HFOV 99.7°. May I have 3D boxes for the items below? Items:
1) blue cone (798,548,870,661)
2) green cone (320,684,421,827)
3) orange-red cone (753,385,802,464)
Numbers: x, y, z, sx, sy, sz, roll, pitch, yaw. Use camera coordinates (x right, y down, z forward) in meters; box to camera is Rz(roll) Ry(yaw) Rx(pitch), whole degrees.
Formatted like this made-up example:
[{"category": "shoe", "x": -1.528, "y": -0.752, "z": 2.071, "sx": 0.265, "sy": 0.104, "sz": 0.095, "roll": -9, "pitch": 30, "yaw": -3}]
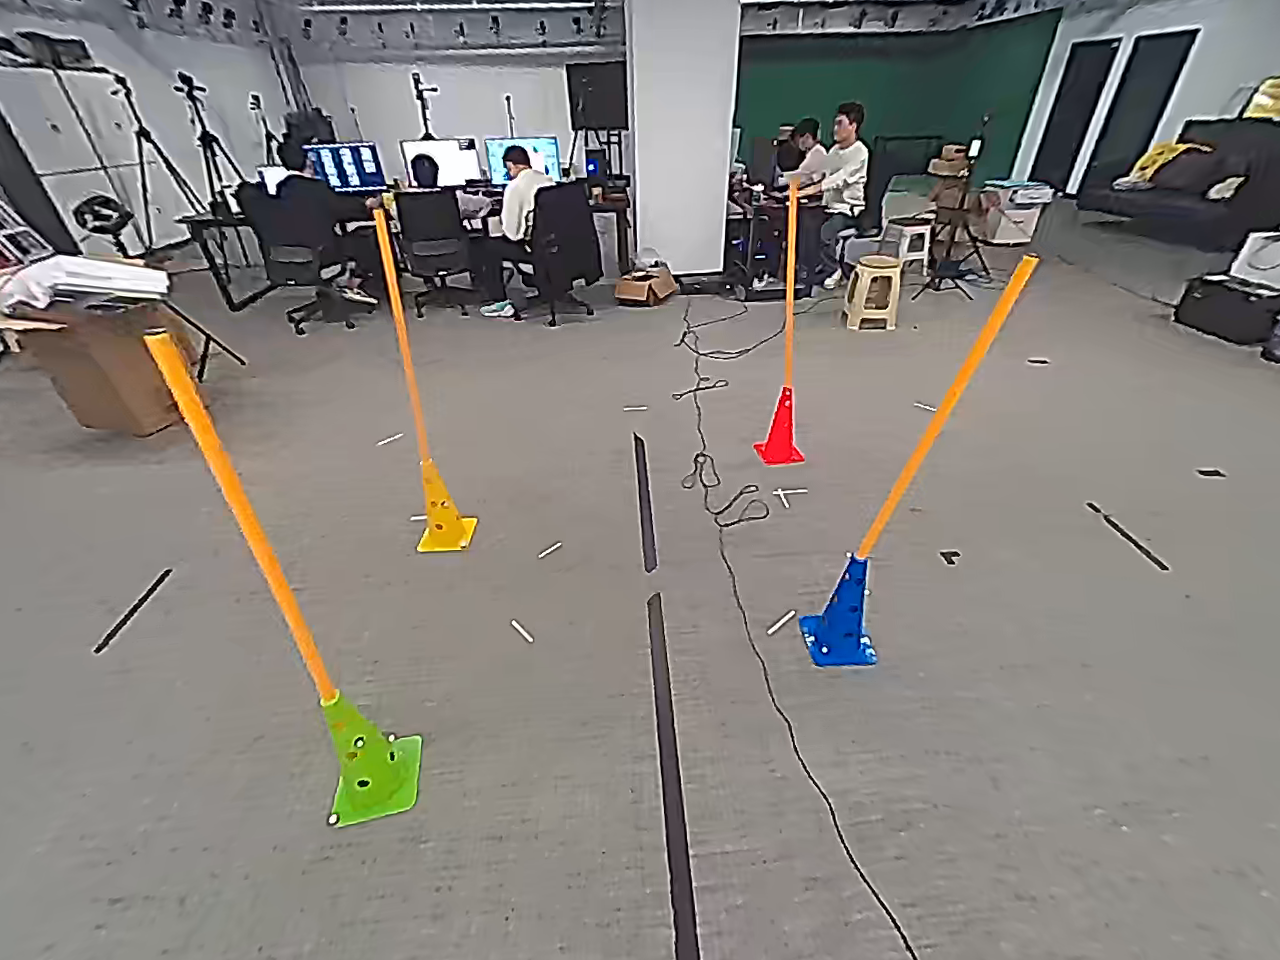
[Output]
[{"category": "blue cone", "x": 0.615, "y": 0.364, "z": 1.637, "sx": 0.193, "sy": 0.380, "sz": 0.192, "roll": -2, "pitch": 34, "yaw": 0}, {"category": "green cone", "x": -0.682, "y": 0.626, "z": 1.300, "sx": 0.200, "sy": 0.368, "sz": 0.202, "roll": -9, "pitch": 33, "yaw": -11}, {"category": "orange-red cone", "x": 0.663, "y": -0.276, "z": 2.544, "sx": 0.199, "sy": 0.360, "sz": 0.198, "roll": -7, "pitch": 34, "yaw": -5}]
